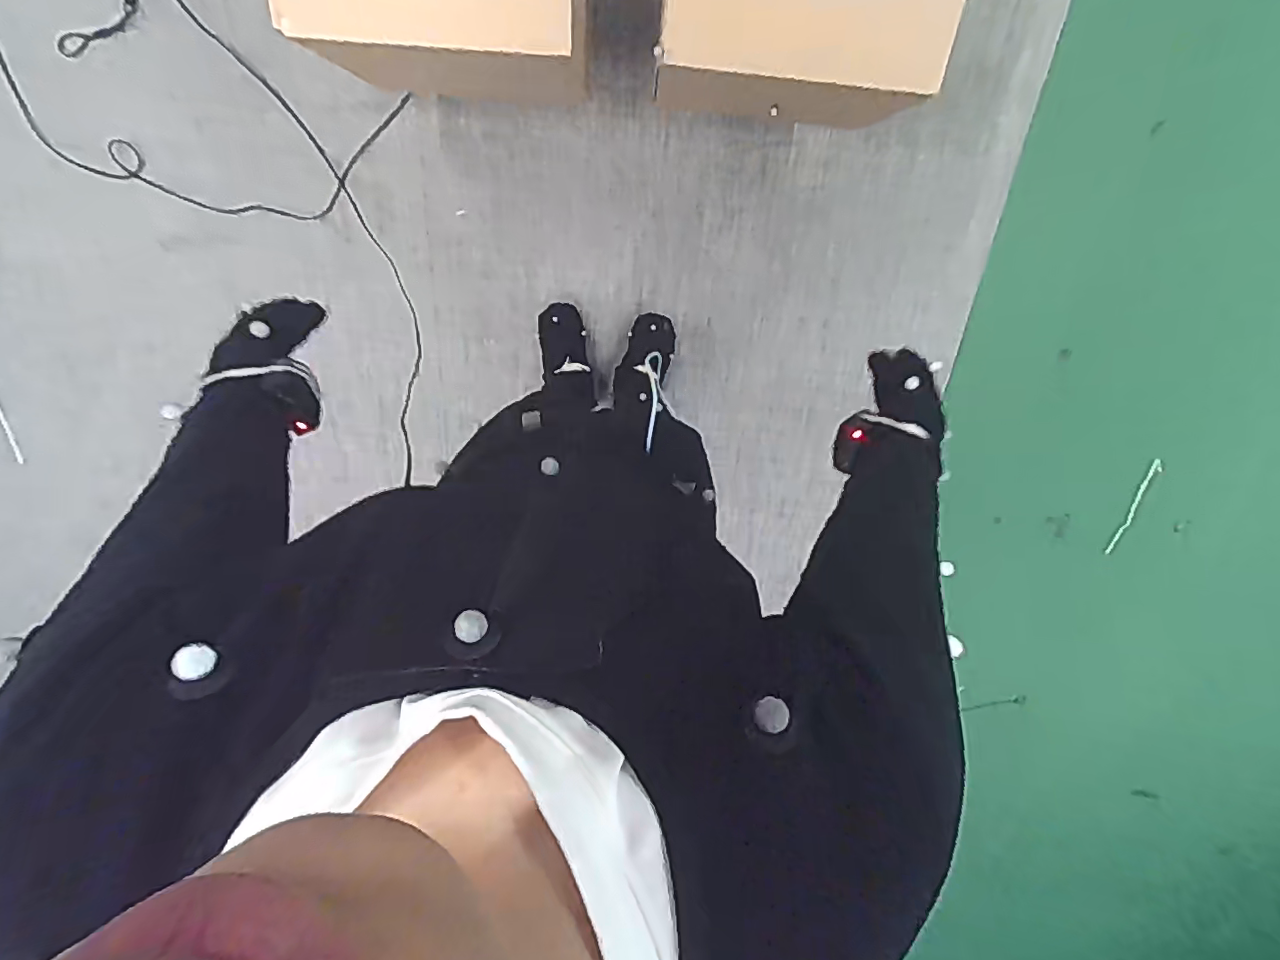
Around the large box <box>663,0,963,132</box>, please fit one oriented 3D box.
[{"bbox_3d":[0.255,-0.770,0.860,0.408,0.320,0.320,6,114,-2],"label":"large box"}]
